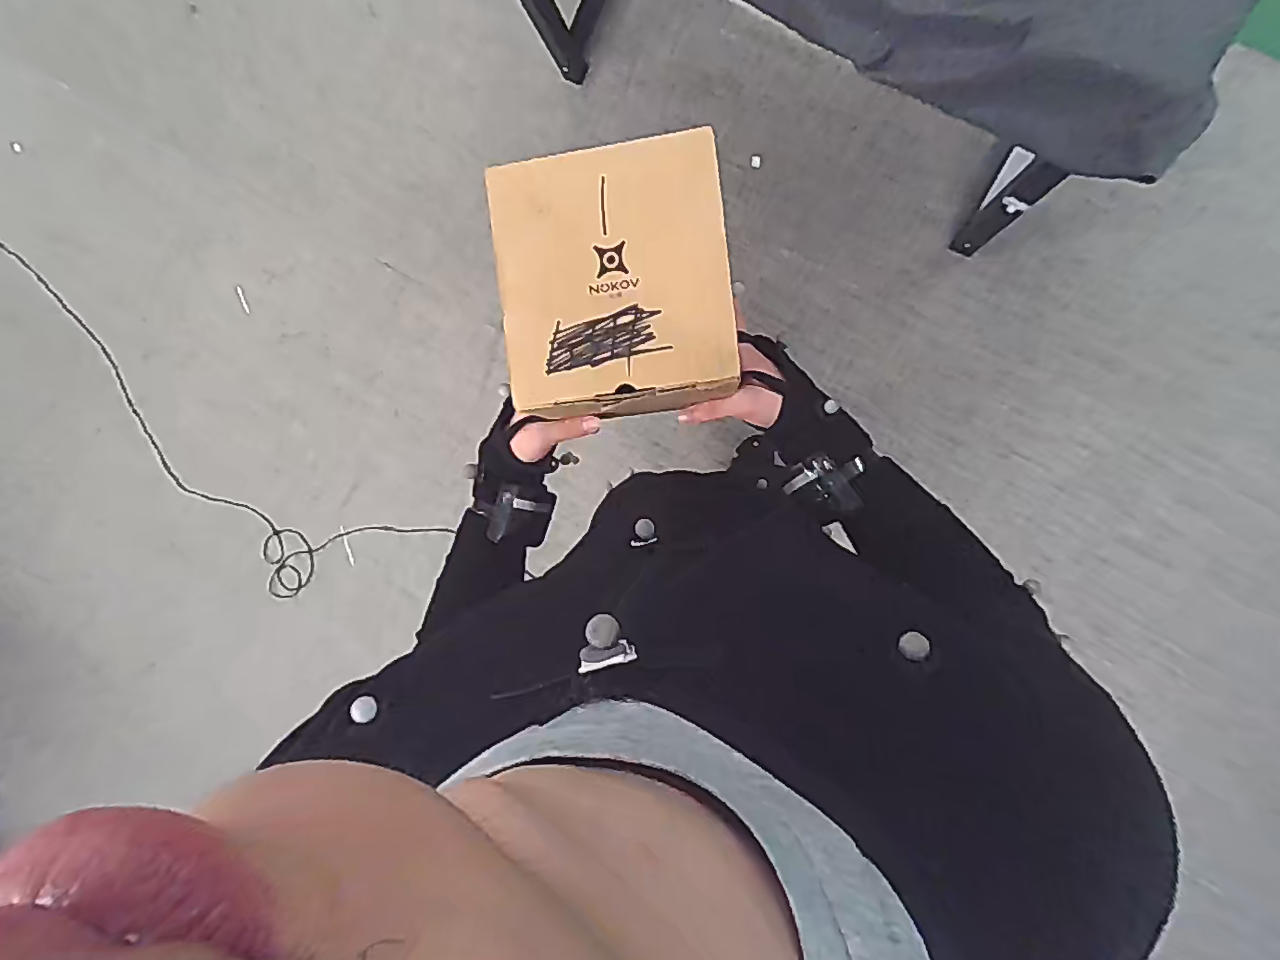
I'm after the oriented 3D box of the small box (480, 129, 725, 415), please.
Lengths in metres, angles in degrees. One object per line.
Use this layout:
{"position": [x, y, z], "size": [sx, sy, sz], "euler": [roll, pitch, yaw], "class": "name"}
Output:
{"position": [-0.017, -0.151, 0.462], "size": [0.168, 0.176, 0.179], "euler": [-6, 91, 7], "class": "small box"}
